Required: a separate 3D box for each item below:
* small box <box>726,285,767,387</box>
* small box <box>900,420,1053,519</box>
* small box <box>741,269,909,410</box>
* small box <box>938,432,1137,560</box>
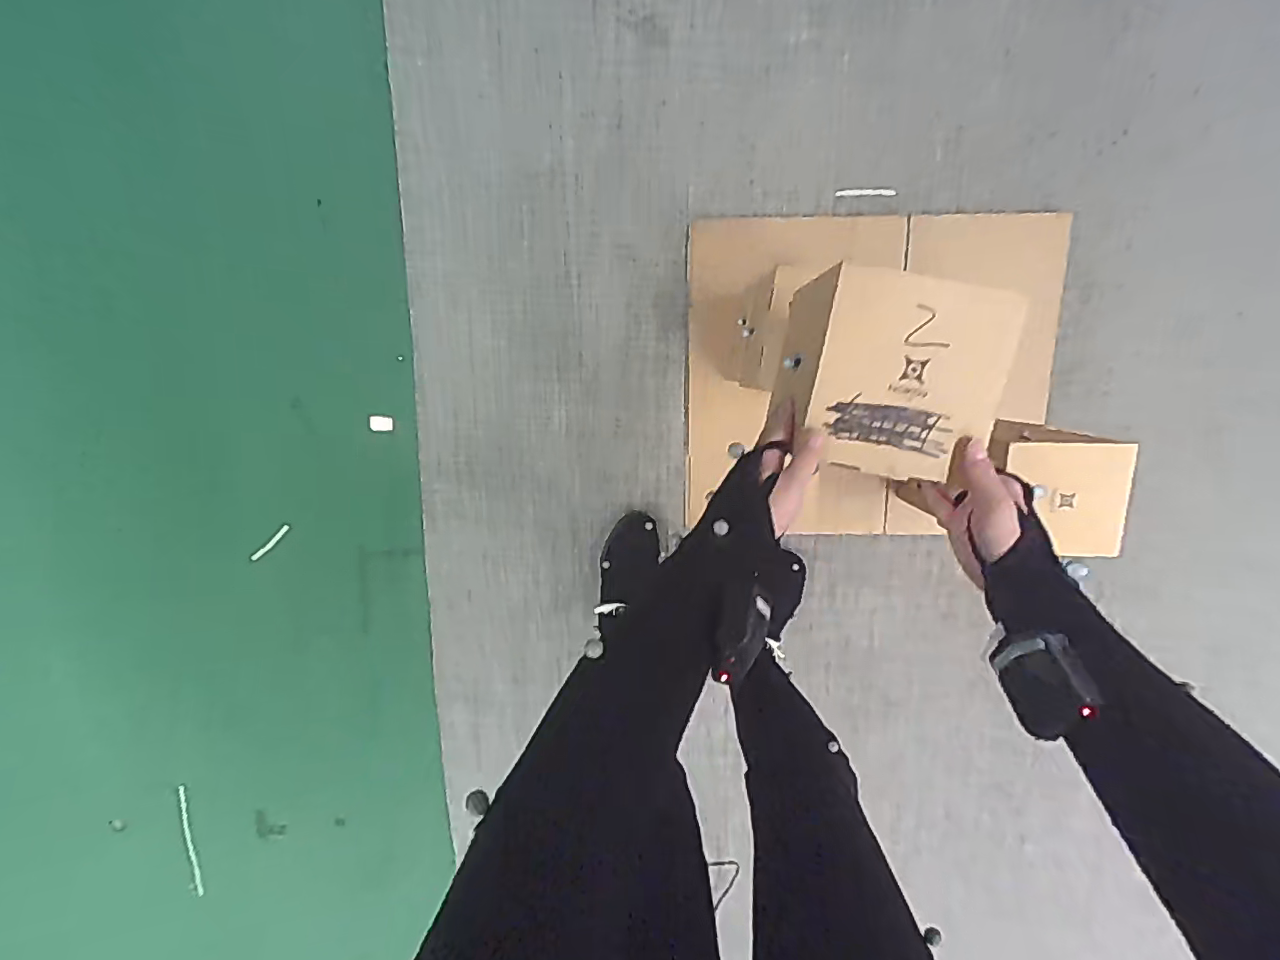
[{"bbox_3d":[0.262,-0.239,0.962,0.179,0.176,0.168,8,101,0],"label":"small box"},{"bbox_3d":[0.602,-0.021,0.993,0.179,0.176,0.168,1,101,2],"label":"small box"},{"bbox_3d":[0.259,-0.201,0.800,0.179,0.176,0.168,8,100,1],"label":"small box"},{"bbox_3d":[0.596,0.017,0.836,0.179,0.176,0.168,1,102,4],"label":"small box"}]
